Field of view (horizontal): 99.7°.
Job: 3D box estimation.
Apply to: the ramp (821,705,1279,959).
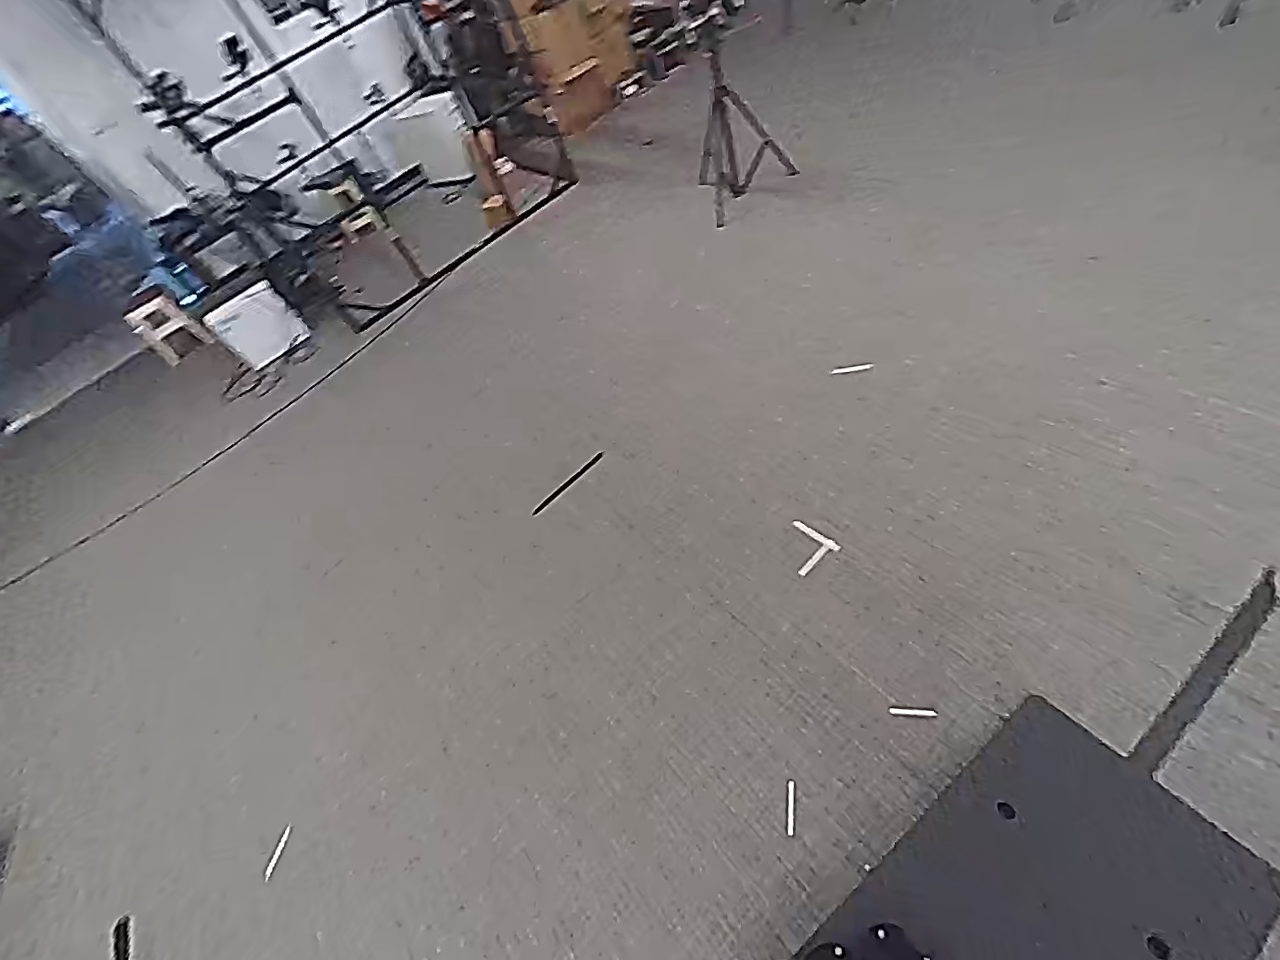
[{"bbox_3d":[0.733,0.922,1.022,0.991,0.206,0.509,-42,47,-14],"label":"ramp"}]
